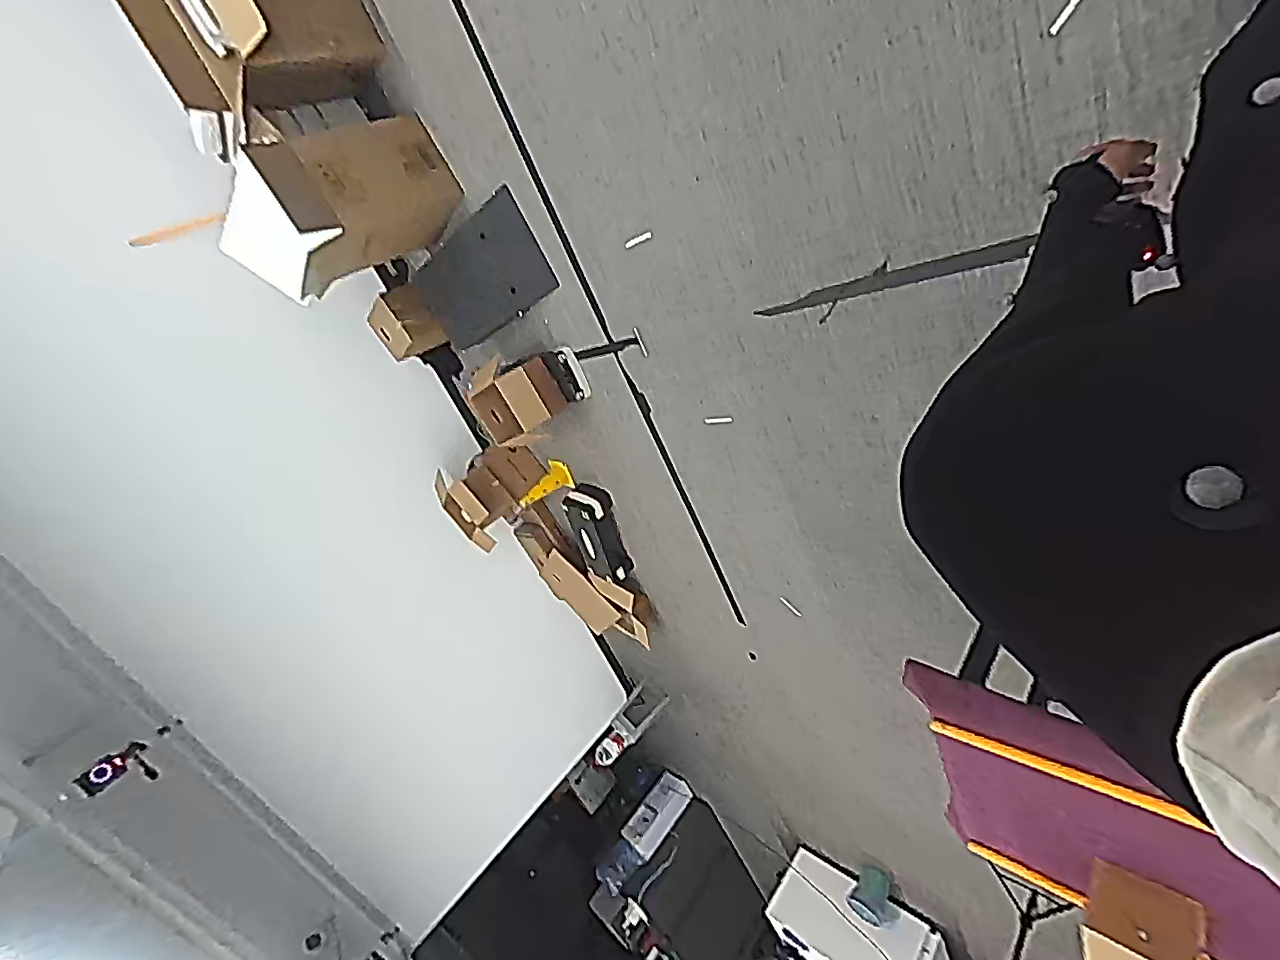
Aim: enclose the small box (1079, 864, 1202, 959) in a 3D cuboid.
[{"bbox_3d":[1.095,0.993,1.184,0.179,0.176,0.168,4,124,49],"label":"small box"}]
